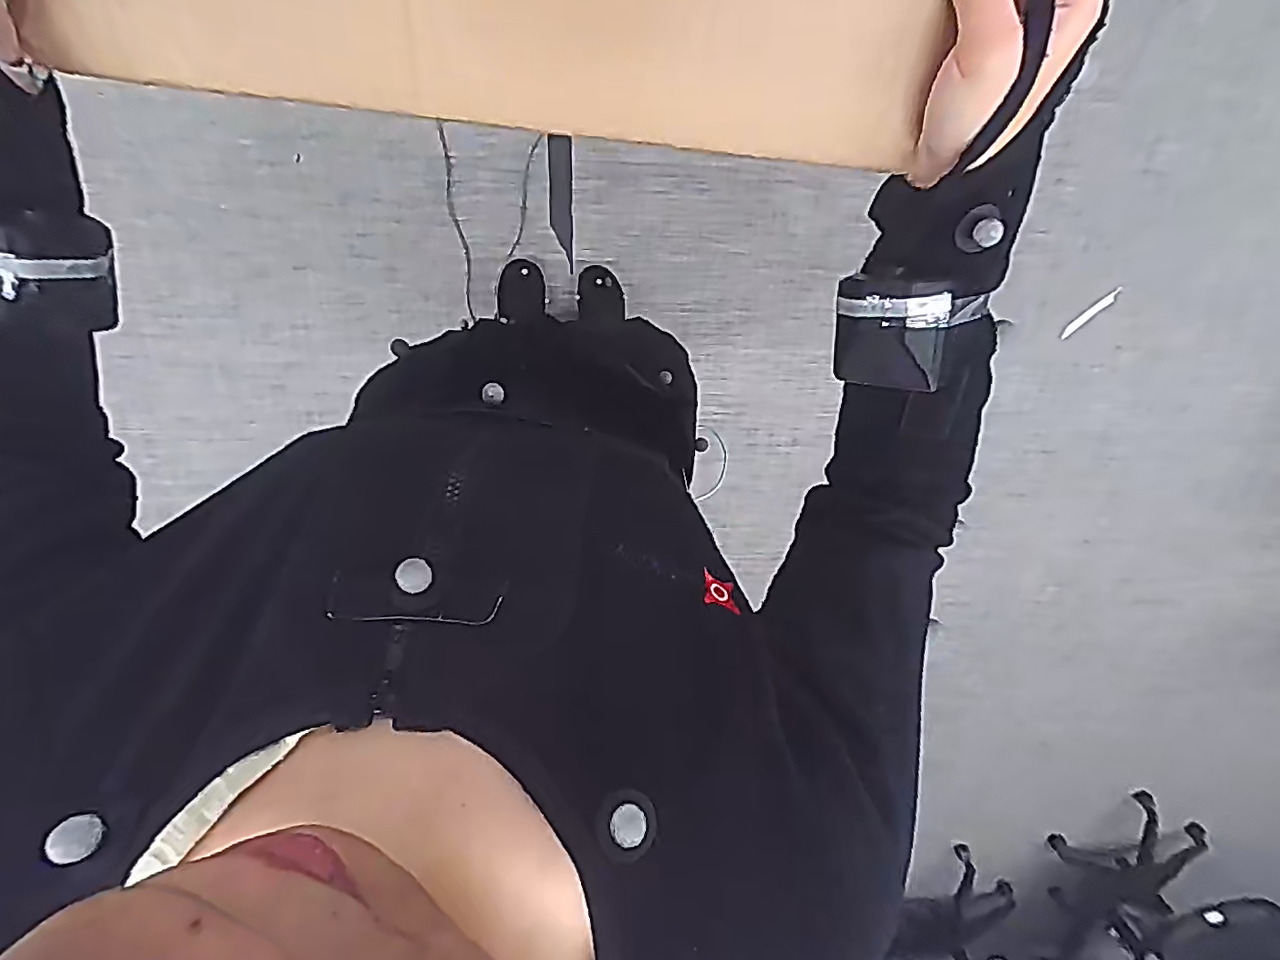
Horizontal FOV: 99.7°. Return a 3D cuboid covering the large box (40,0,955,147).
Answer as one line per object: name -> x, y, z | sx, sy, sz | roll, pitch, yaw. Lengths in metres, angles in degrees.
large box -> -0.053, -0.392, 0.276 | 0.408, 0.320, 0.320 | 3, 131, -6
